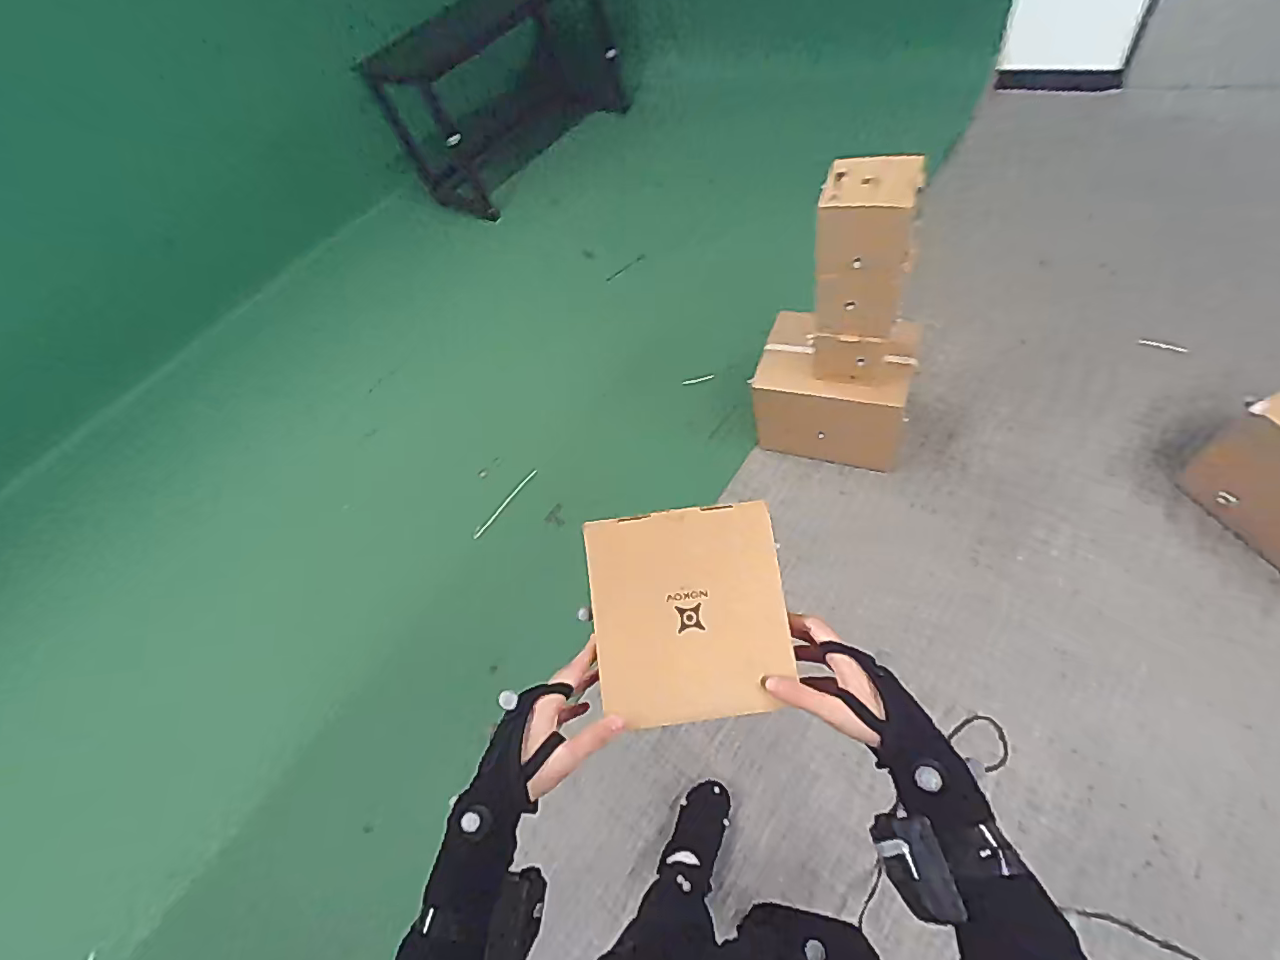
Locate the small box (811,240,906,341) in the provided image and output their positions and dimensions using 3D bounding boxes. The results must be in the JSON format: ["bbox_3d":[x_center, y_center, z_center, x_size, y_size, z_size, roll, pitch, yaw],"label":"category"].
[{"bbox_3d":[0.514,-0.450,1.284,0.179,0.176,0.168,11,61,24],"label":"small box"}]

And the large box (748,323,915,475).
[{"bbox_3d":[0.576,-0.246,1.634,0.408,0.320,0.320,11,60,25],"label":"large box"}]

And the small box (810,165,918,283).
[{"bbox_3d":[0.472,-0.542,1.153,0.179,0.176,0.168,13,62,23],"label":"small box"}]

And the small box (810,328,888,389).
[{"bbox_3d":[0.549,-0.360,1.415,0.168,0.176,0.179,13,62,24],"label":"small box"}]

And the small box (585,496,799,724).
[{"bbox_3d":[0.043,0.124,0.535,0.168,0.176,0.179,-7,76,-1],"label":"small box"}]
